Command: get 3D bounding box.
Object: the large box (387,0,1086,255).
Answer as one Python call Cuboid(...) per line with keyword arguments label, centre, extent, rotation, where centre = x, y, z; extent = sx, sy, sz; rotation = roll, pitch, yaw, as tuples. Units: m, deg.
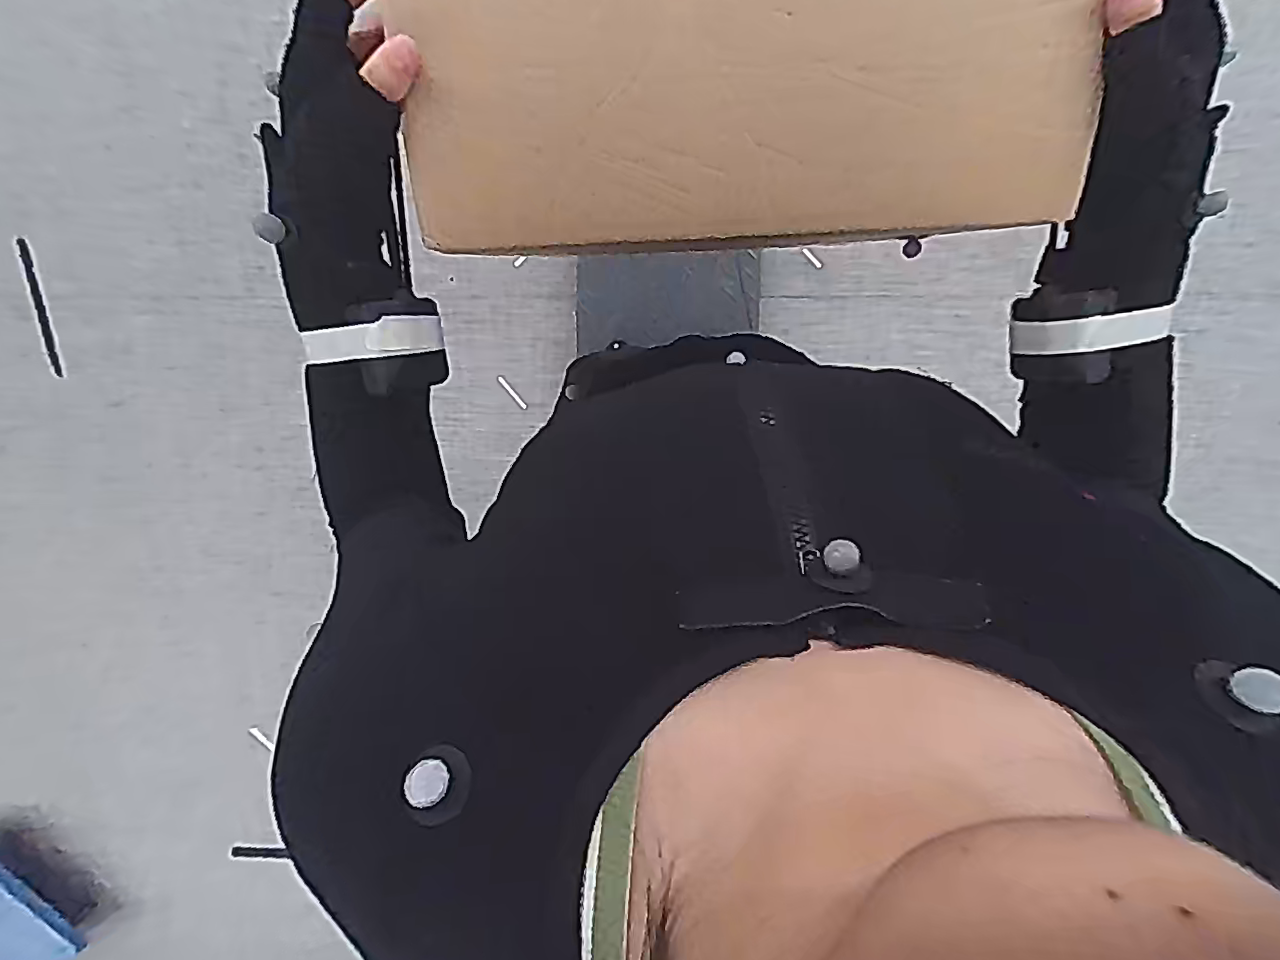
Cuboid(label="large box", centre=(0.051, -0.355, 0.426), extent=(0.408, 0.320, 0.320), rotation=(-3, 112, -2))
